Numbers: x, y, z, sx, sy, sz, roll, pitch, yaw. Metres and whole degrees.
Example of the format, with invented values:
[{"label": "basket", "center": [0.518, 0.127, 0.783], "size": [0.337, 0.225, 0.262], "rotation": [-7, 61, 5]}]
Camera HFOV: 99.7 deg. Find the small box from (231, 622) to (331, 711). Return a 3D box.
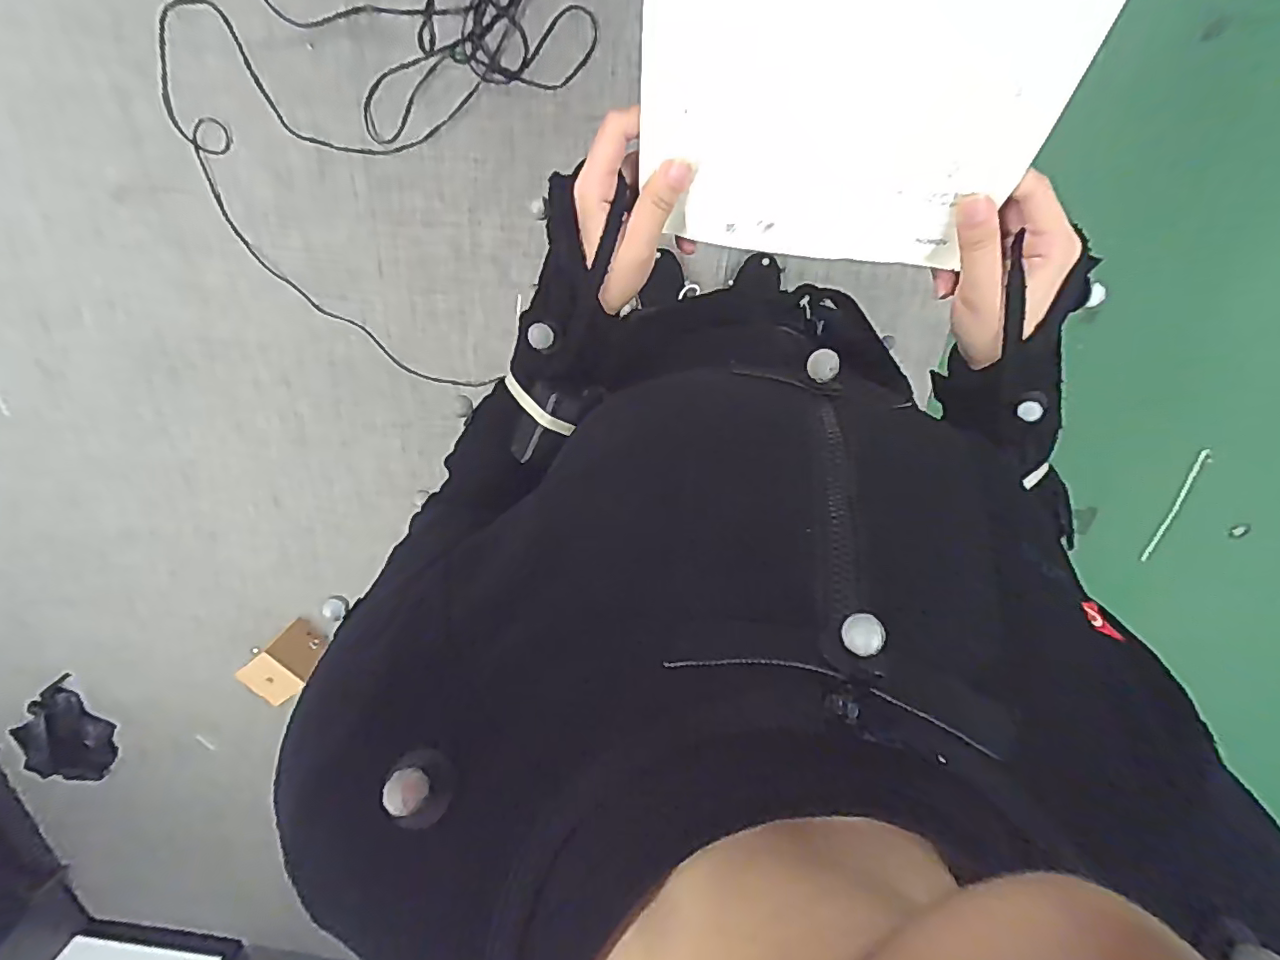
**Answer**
[{"label": "small box", "center": [-1.145, 0.595, 1.737], "size": [0.179, 0.176, 0.168], "rotation": [-35, 108, 19]}]
